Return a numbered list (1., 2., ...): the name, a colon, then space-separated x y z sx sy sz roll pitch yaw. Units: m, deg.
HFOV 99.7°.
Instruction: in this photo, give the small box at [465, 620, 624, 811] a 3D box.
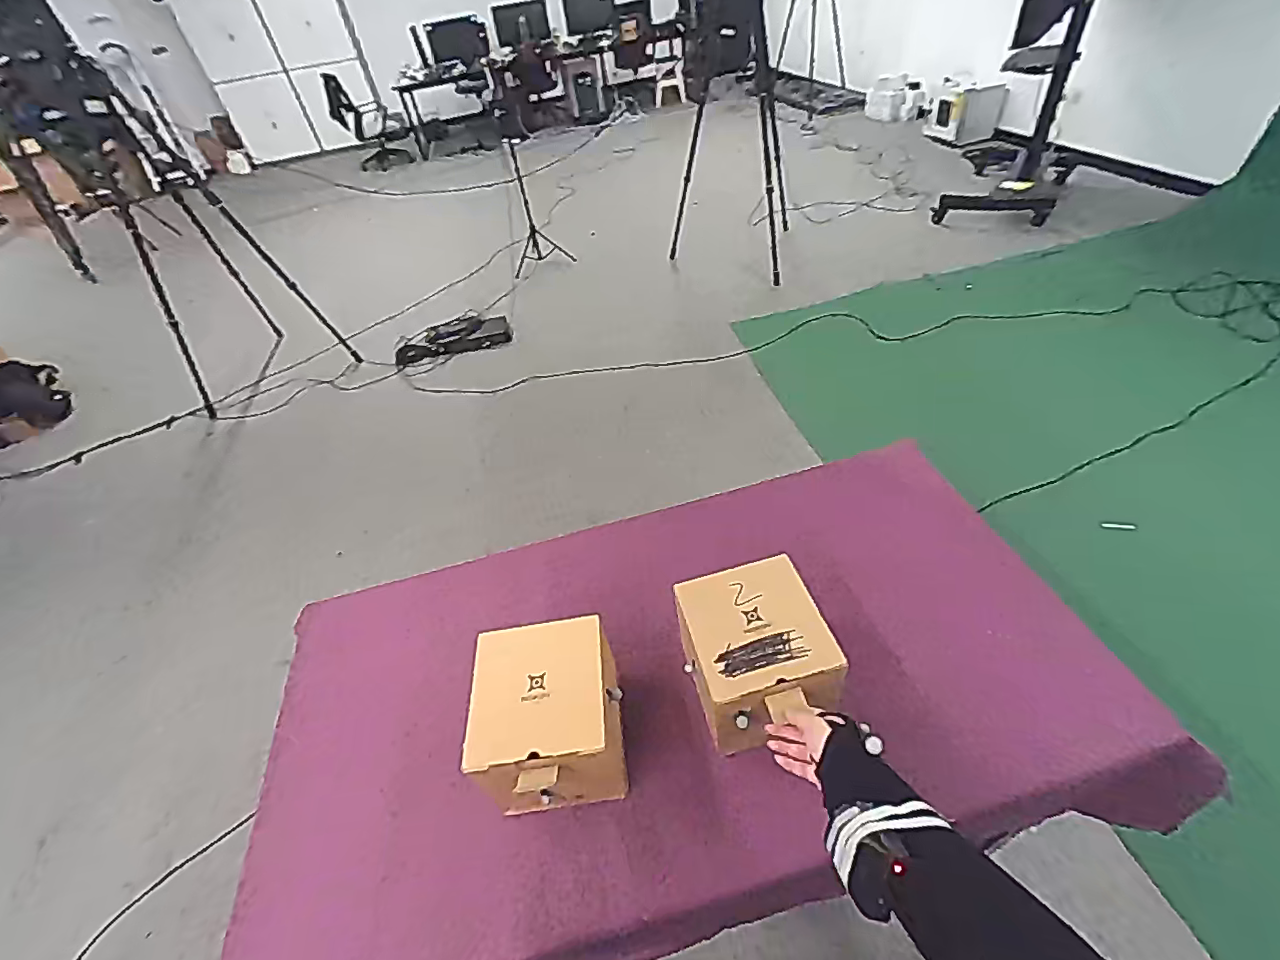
1. small box: -0.119 0.319 0.732 0.168 0.176 0.179 -10 45 1
